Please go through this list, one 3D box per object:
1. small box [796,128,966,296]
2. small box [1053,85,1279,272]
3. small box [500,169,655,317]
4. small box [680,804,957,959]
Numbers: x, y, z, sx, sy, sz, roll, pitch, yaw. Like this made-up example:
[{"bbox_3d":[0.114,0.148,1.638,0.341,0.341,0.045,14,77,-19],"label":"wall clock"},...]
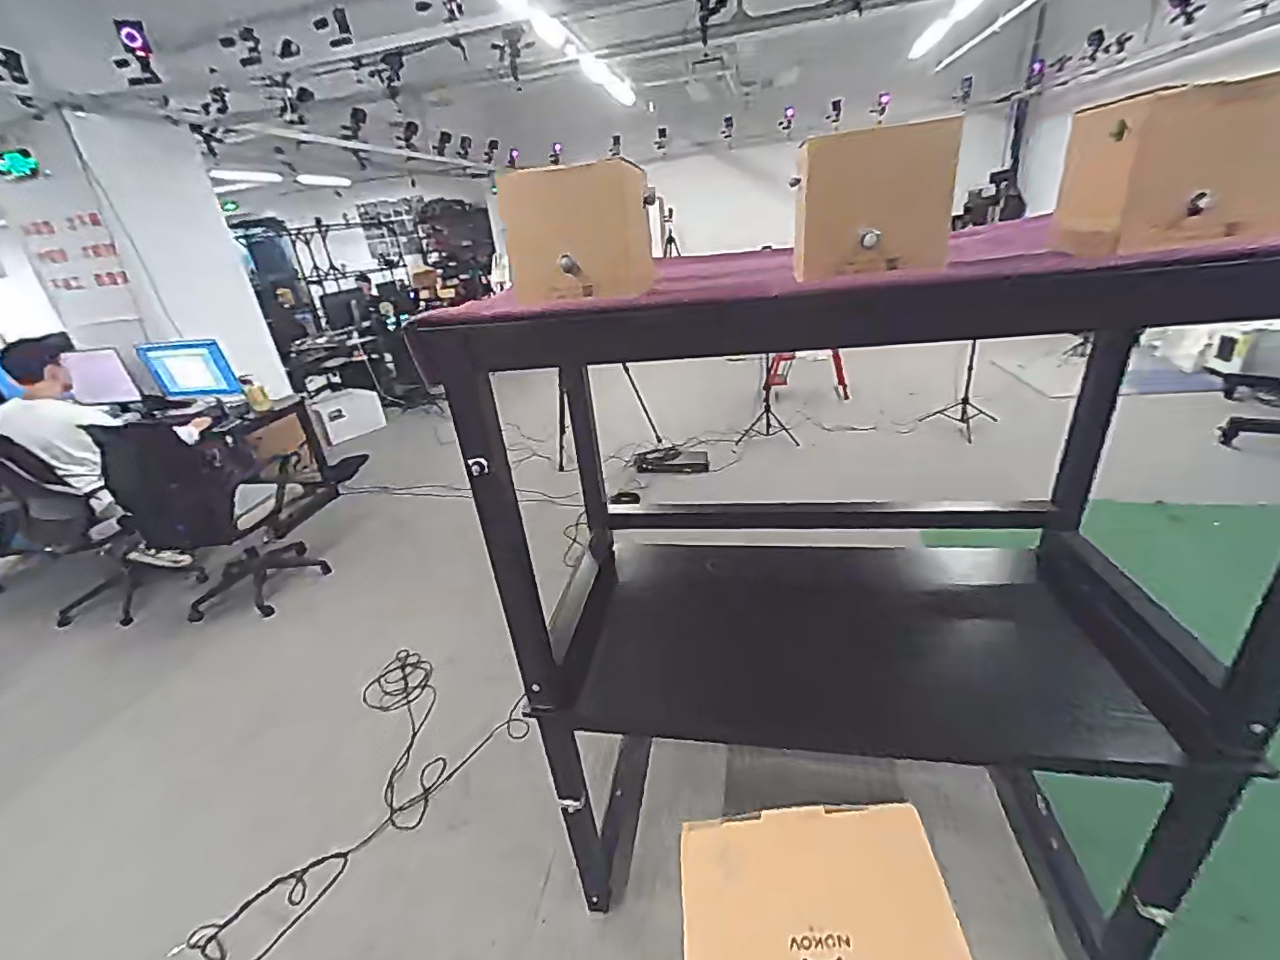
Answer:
[{"bbox_3d":[0.293,-0.339,0.700,0.168,0.176,0.179,-1,28,13],"label":"small box"},{"bbox_3d":[0.625,-0.345,0.633,0.168,0.176,0.179,0,28,14],"label":"small box"},{"bbox_3d":[-0.075,-0.328,0.763,0.168,0.176,0.179,-1,25,12],"label":"small box"},{"bbox_3d":[0.124,0.355,0.370,0.168,0.176,0.179,-11,36,10],"label":"small box"}]
